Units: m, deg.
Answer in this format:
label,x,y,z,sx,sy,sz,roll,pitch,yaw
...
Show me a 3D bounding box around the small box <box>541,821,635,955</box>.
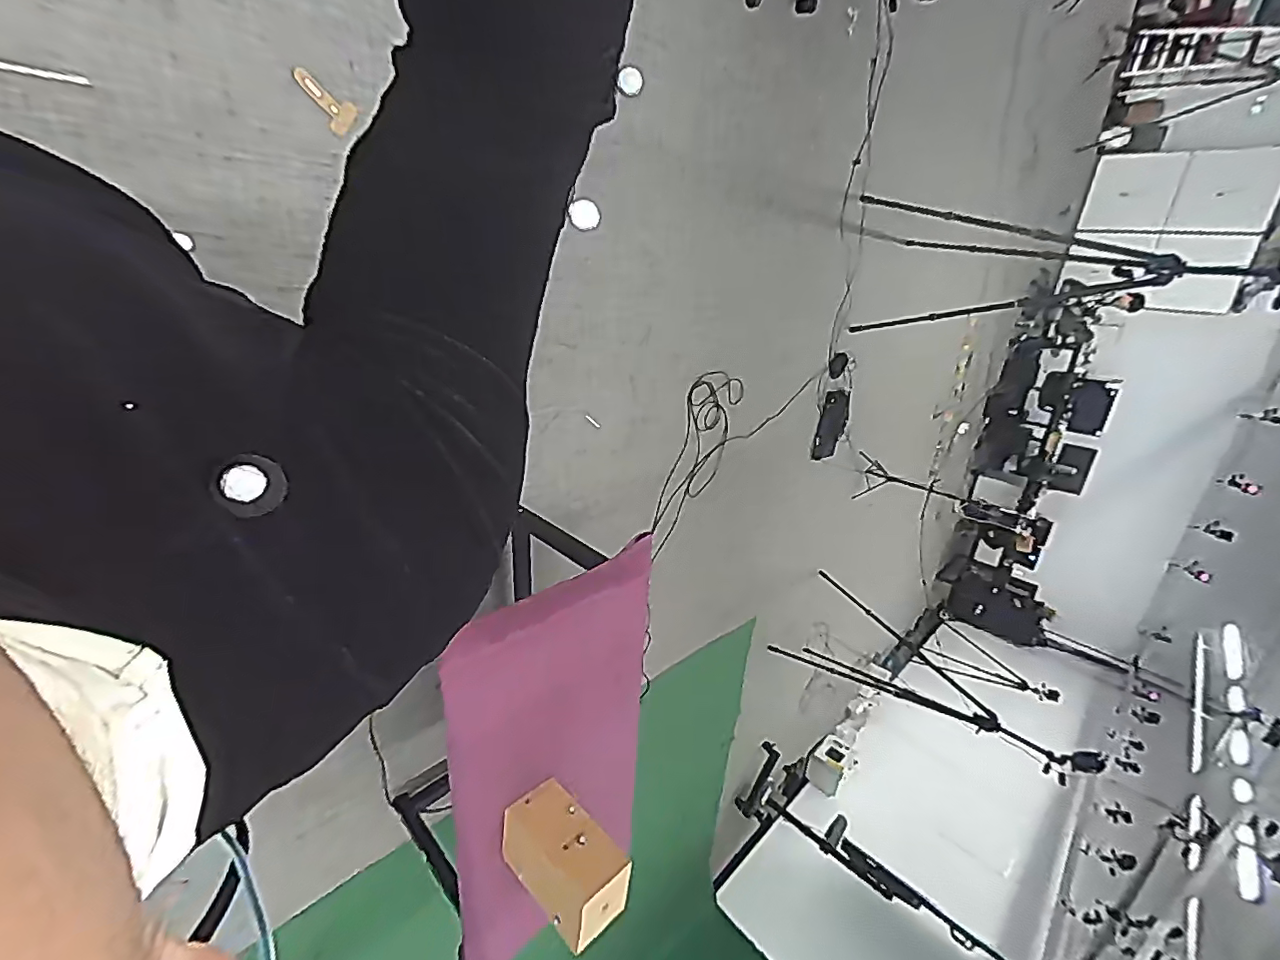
label,x,y,z,sx,sy,sz,roll,pitch,yaw
small box,-0.137,1.030,1.382,0.168,0.176,0.179,-12,117,-45
